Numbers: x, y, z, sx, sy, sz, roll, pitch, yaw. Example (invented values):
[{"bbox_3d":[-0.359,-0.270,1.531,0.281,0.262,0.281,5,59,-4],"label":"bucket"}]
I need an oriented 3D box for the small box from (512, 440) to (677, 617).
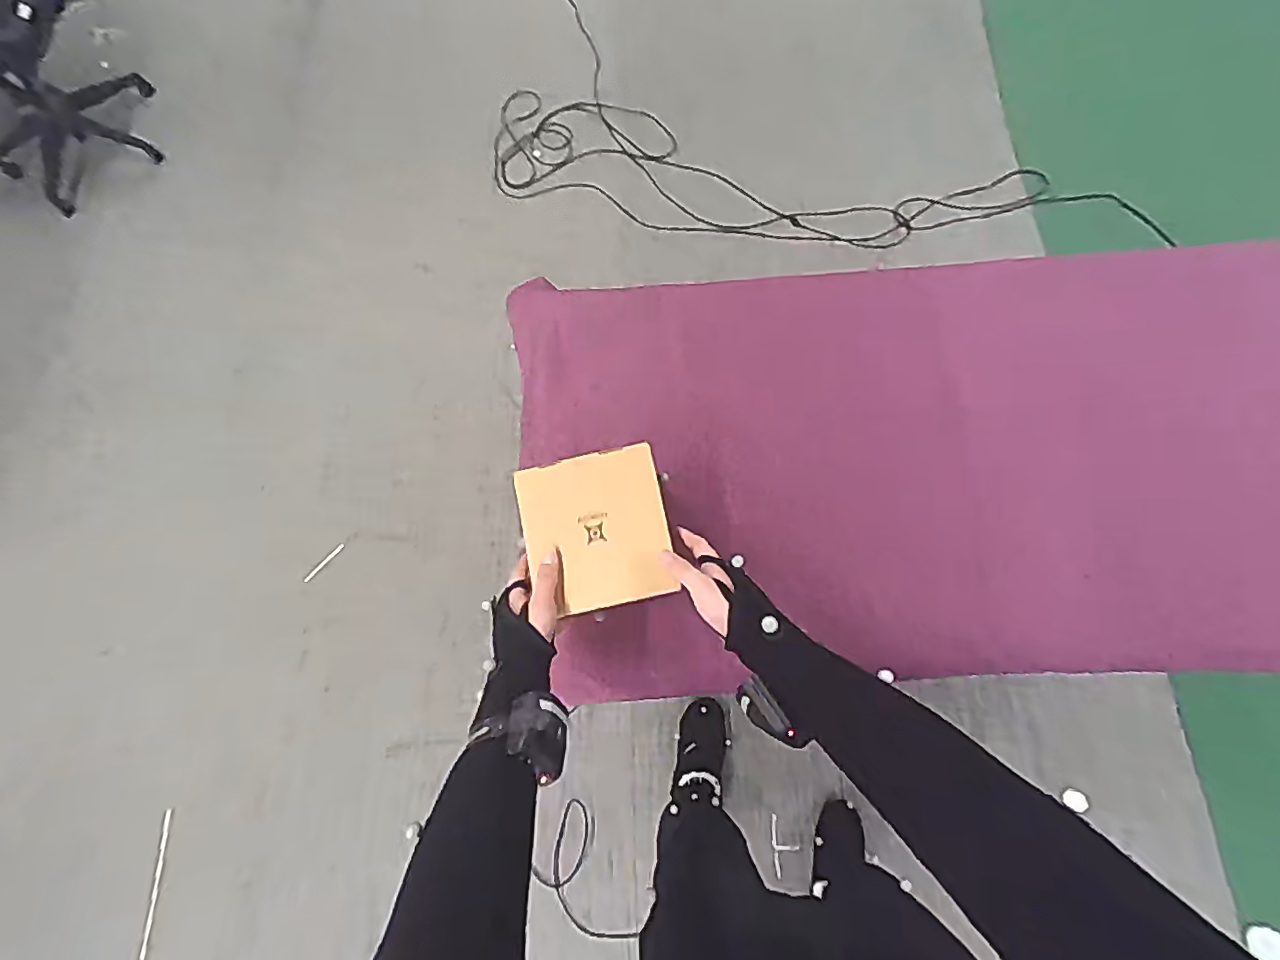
[{"bbox_3d":[-0.049,0.071,0.691,0.168,0.176,0.179,-14,74,1],"label":"small box"}]
